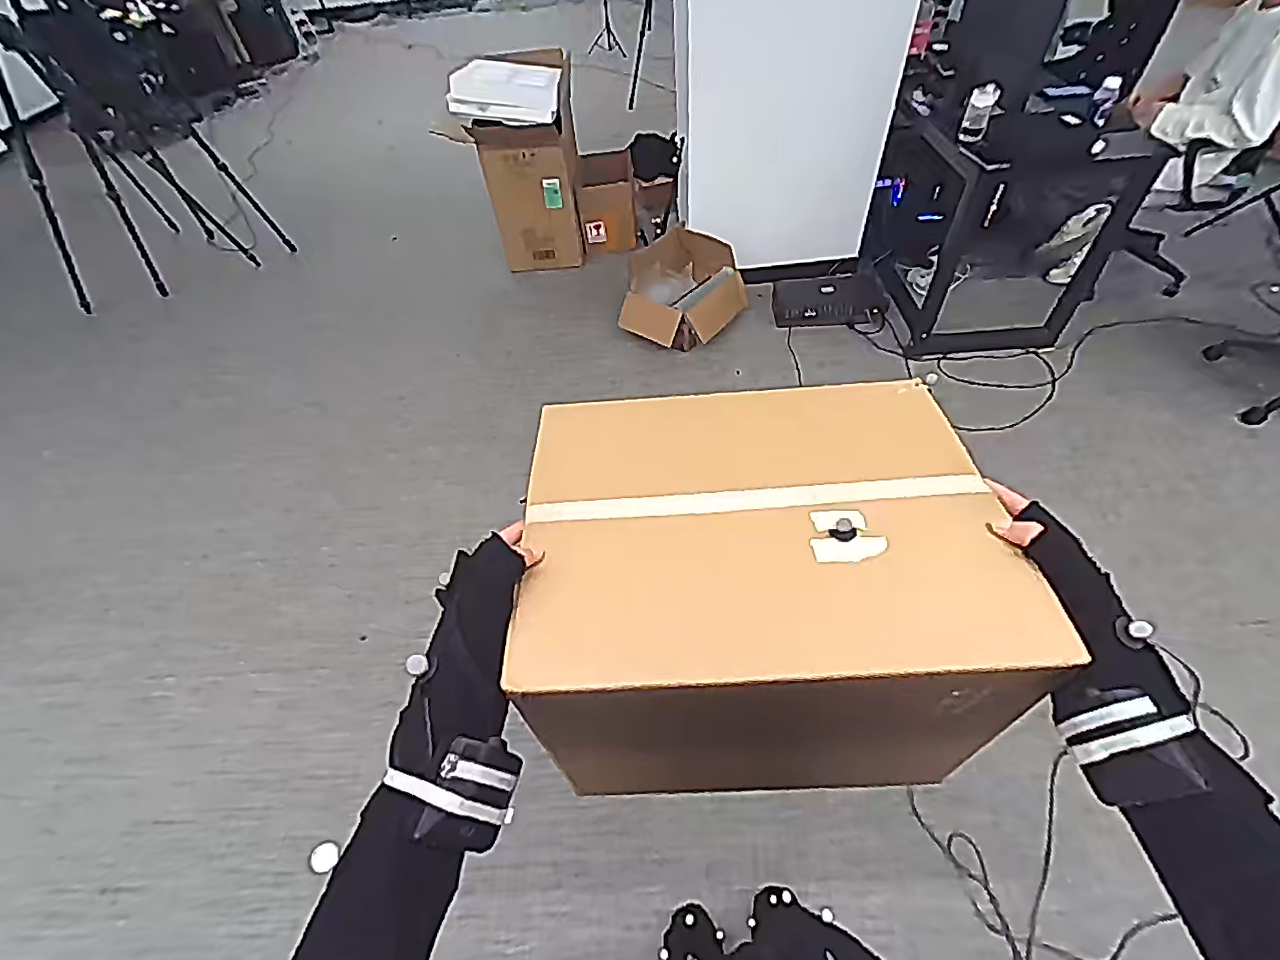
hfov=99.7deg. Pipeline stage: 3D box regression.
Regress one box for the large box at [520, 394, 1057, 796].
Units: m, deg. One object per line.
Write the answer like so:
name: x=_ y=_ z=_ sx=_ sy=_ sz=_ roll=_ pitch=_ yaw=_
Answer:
large box: x=0.111 y=0.133 z=0.604 sx=0.408 sy=0.320 sz=0.320 roll=-4 pitch=47 yaw=3
